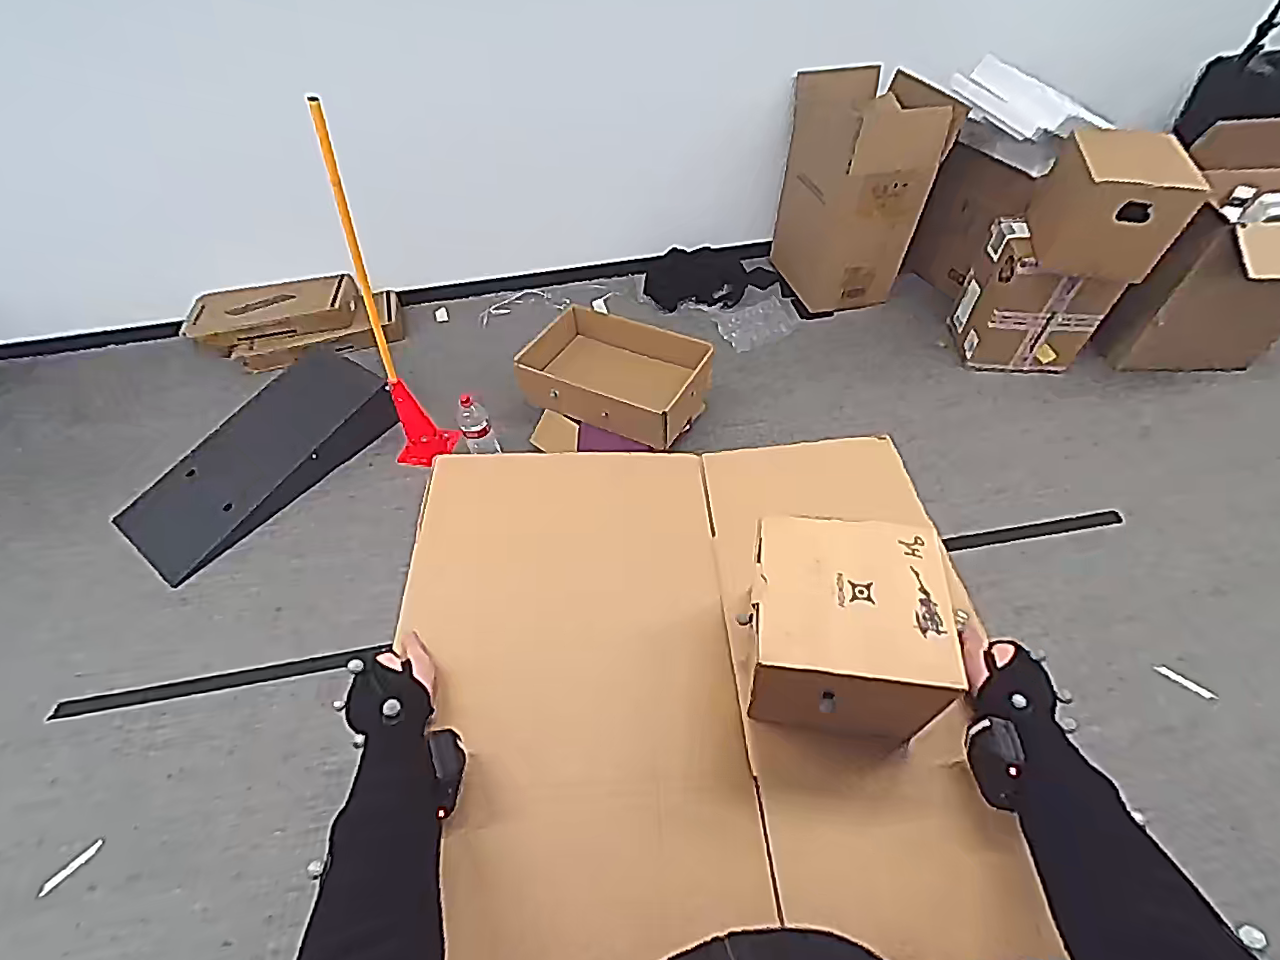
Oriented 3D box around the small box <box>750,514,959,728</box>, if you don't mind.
[{"bbox_3d":[0.211,0.154,0.584,0.179,0.176,0.168,3,53,11],"label":"small box"}]
